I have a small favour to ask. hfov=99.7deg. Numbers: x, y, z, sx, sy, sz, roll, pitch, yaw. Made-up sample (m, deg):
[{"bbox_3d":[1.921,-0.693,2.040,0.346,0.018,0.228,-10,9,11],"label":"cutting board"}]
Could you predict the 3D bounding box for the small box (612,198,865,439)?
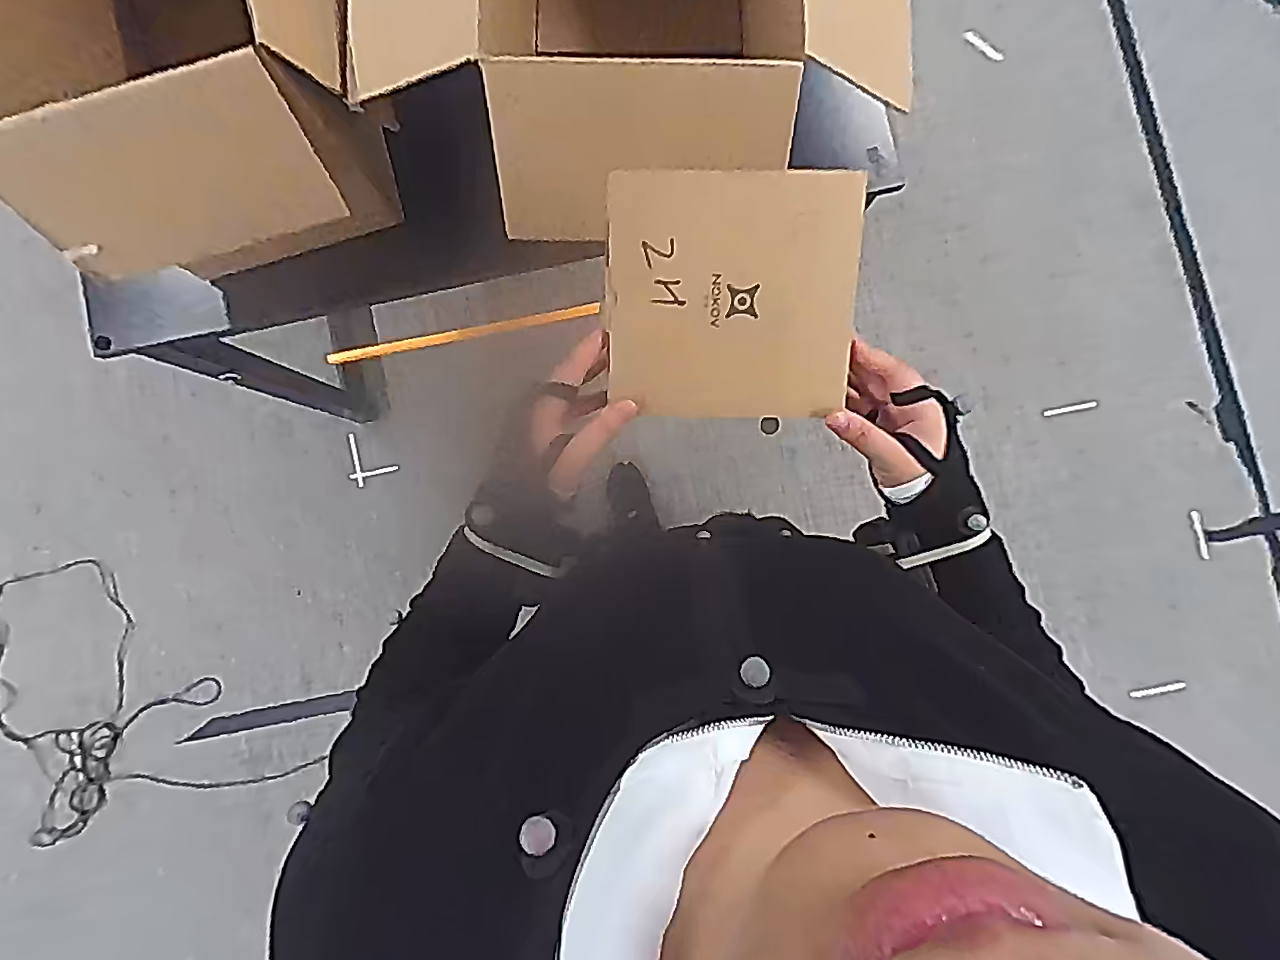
[{"bbox_3d":[0.069,-0.133,0.470,0.179,0.176,0.168,2,103,1],"label":"small box"}]
